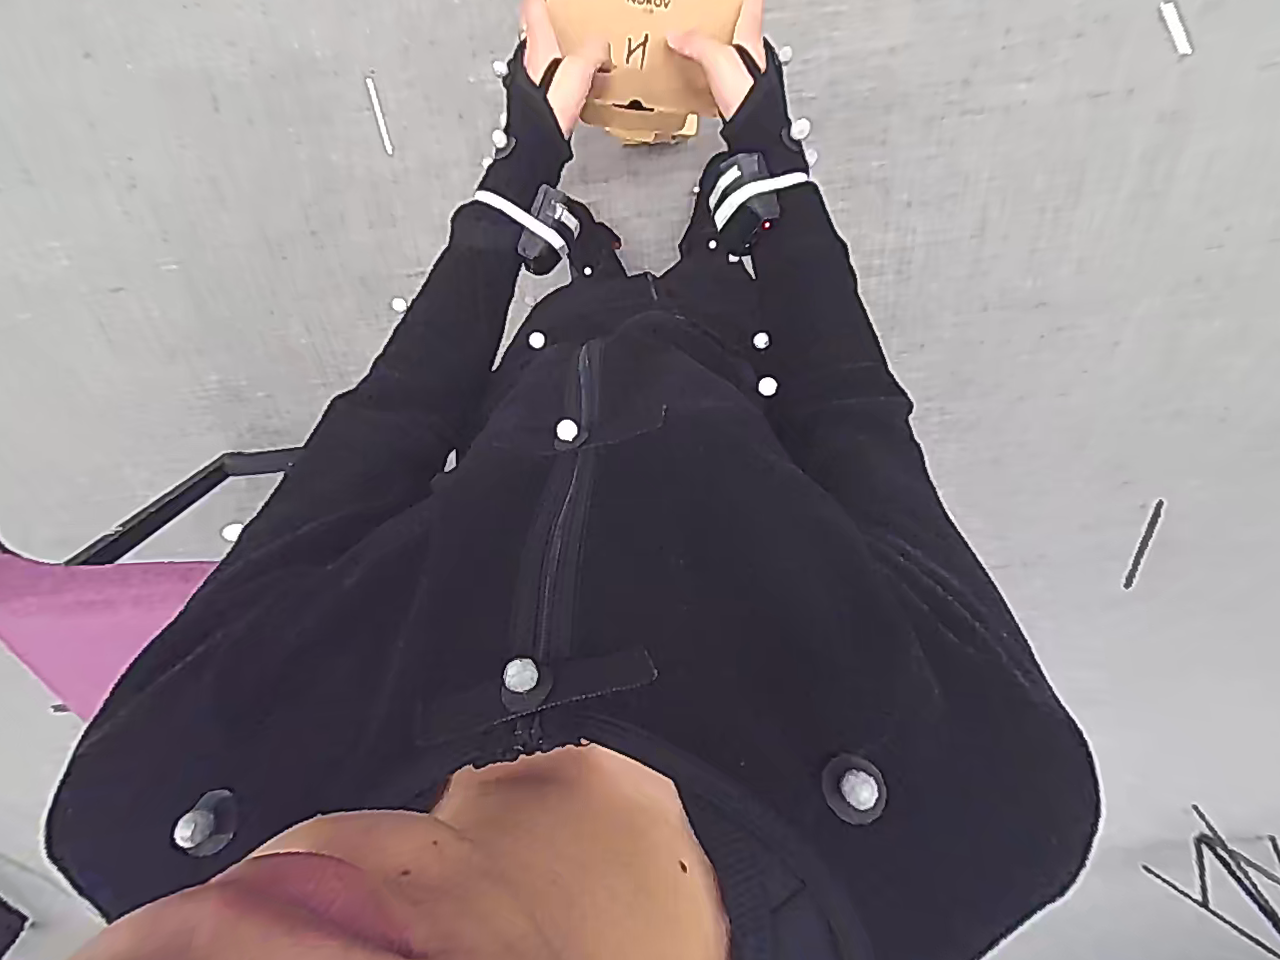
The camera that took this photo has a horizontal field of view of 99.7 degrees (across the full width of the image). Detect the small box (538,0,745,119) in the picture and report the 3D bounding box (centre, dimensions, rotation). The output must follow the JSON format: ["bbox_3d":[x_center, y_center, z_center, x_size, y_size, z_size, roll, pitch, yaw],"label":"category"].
[{"bbox_3d":[-0.005,-0.459,0.483,0.168,0.176,0.179,-1,141,-12],"label":"small box"}]

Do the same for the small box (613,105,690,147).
[{"bbox_3d":[0.026,-0.843,1.197,0.168,0.176,0.179,-2,120,1],"label":"small box"}]
